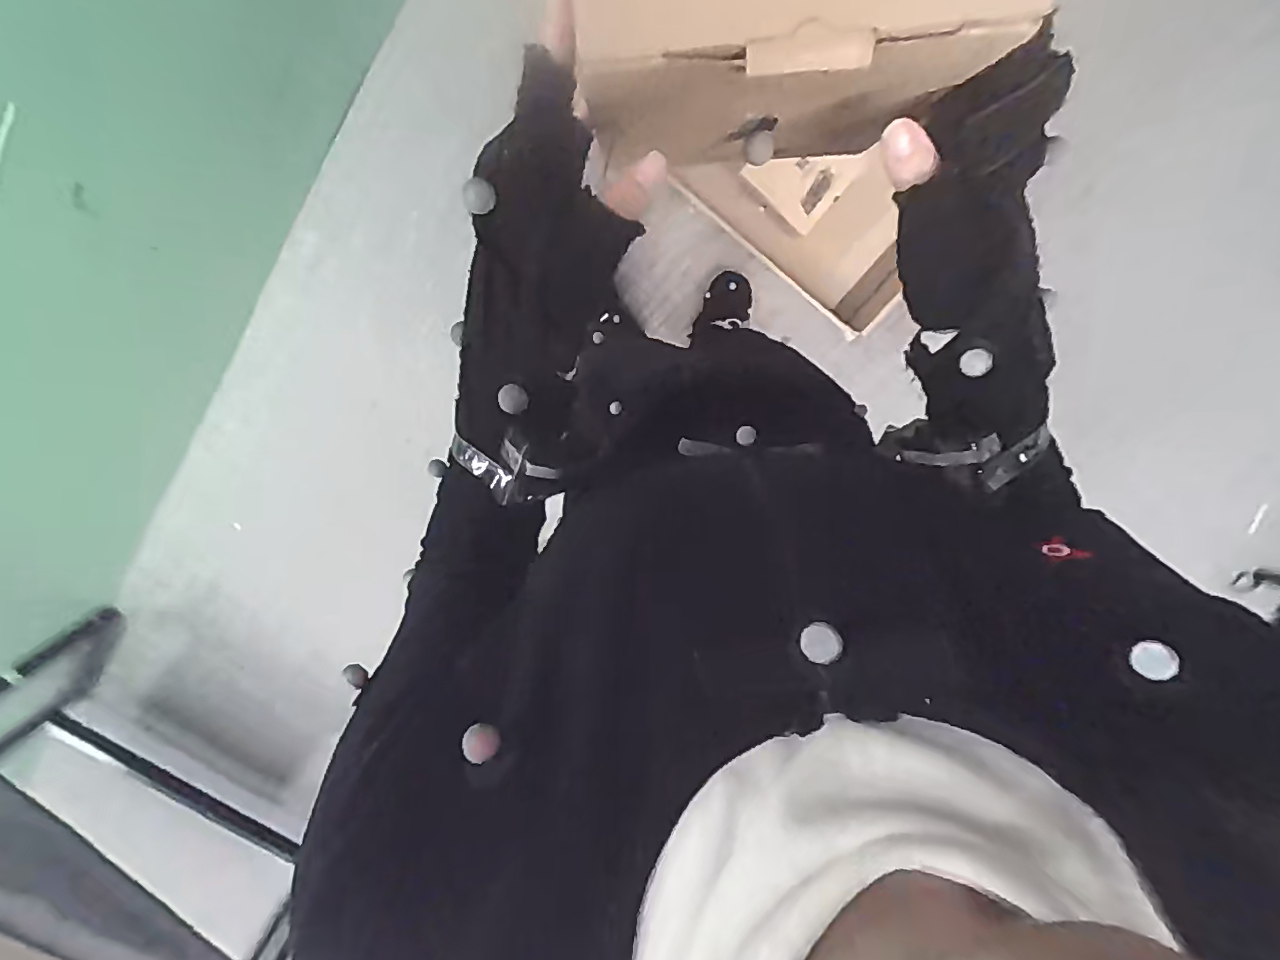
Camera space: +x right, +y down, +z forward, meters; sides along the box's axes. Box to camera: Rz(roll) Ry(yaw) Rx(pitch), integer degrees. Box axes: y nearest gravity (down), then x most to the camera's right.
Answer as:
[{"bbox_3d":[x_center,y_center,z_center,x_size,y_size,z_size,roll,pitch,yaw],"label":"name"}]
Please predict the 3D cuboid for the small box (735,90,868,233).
[{"bbox_3d":[0.308,-0.616,1.066,0.179,0.176,0.168,37,113,-11],"label":"small box"}]
